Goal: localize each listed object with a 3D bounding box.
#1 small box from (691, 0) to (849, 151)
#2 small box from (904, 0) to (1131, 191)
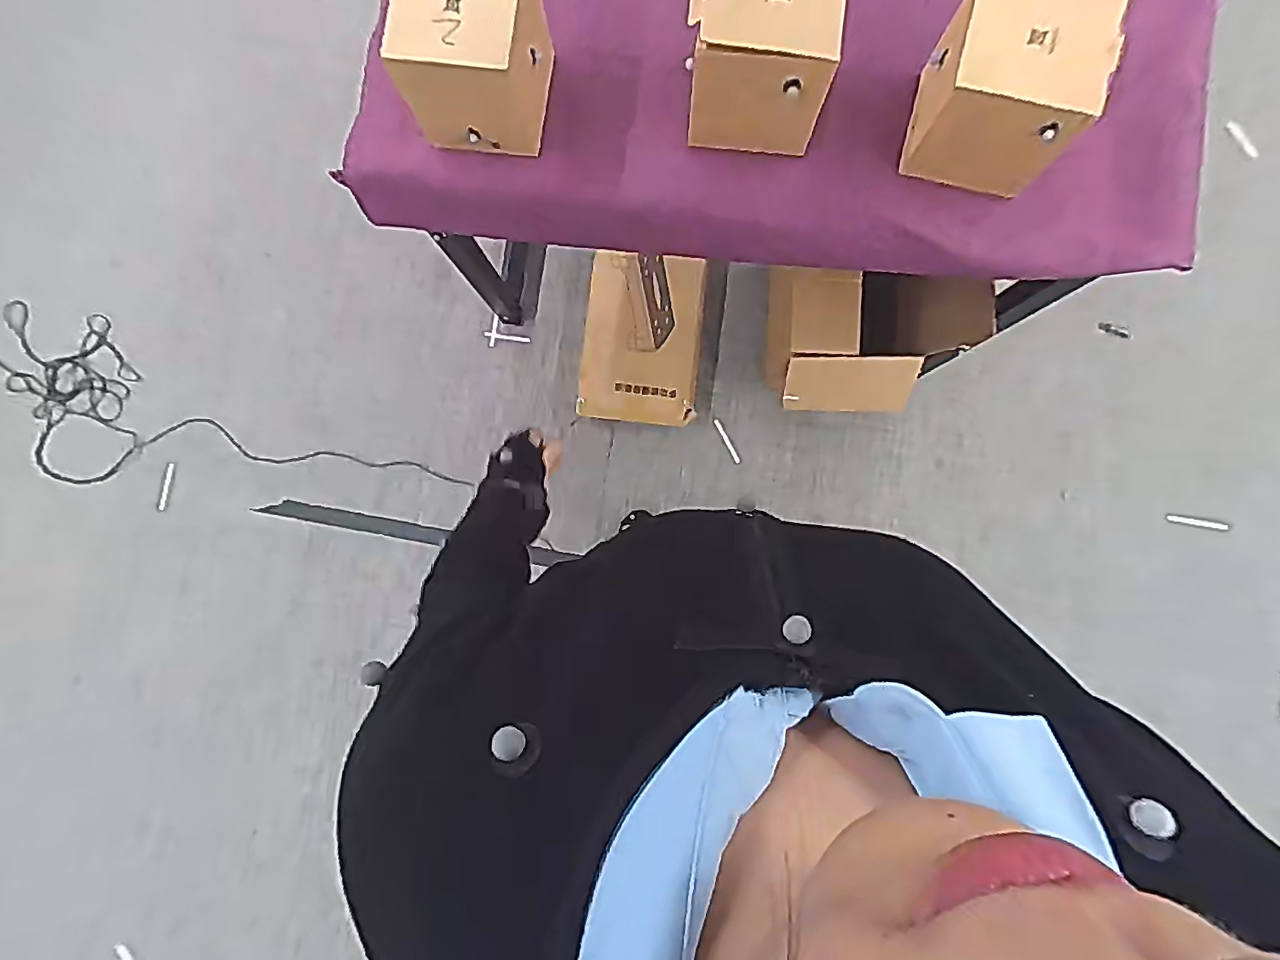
[{"bbox_3d":[0.169,-0.580,0.733,0.179,0.176,0.168,7,84,3],"label":"small box"},{"bbox_3d":[0.480,-0.517,0.715,0.179,0.176,0.168,14,87,3],"label":"small box"}]
